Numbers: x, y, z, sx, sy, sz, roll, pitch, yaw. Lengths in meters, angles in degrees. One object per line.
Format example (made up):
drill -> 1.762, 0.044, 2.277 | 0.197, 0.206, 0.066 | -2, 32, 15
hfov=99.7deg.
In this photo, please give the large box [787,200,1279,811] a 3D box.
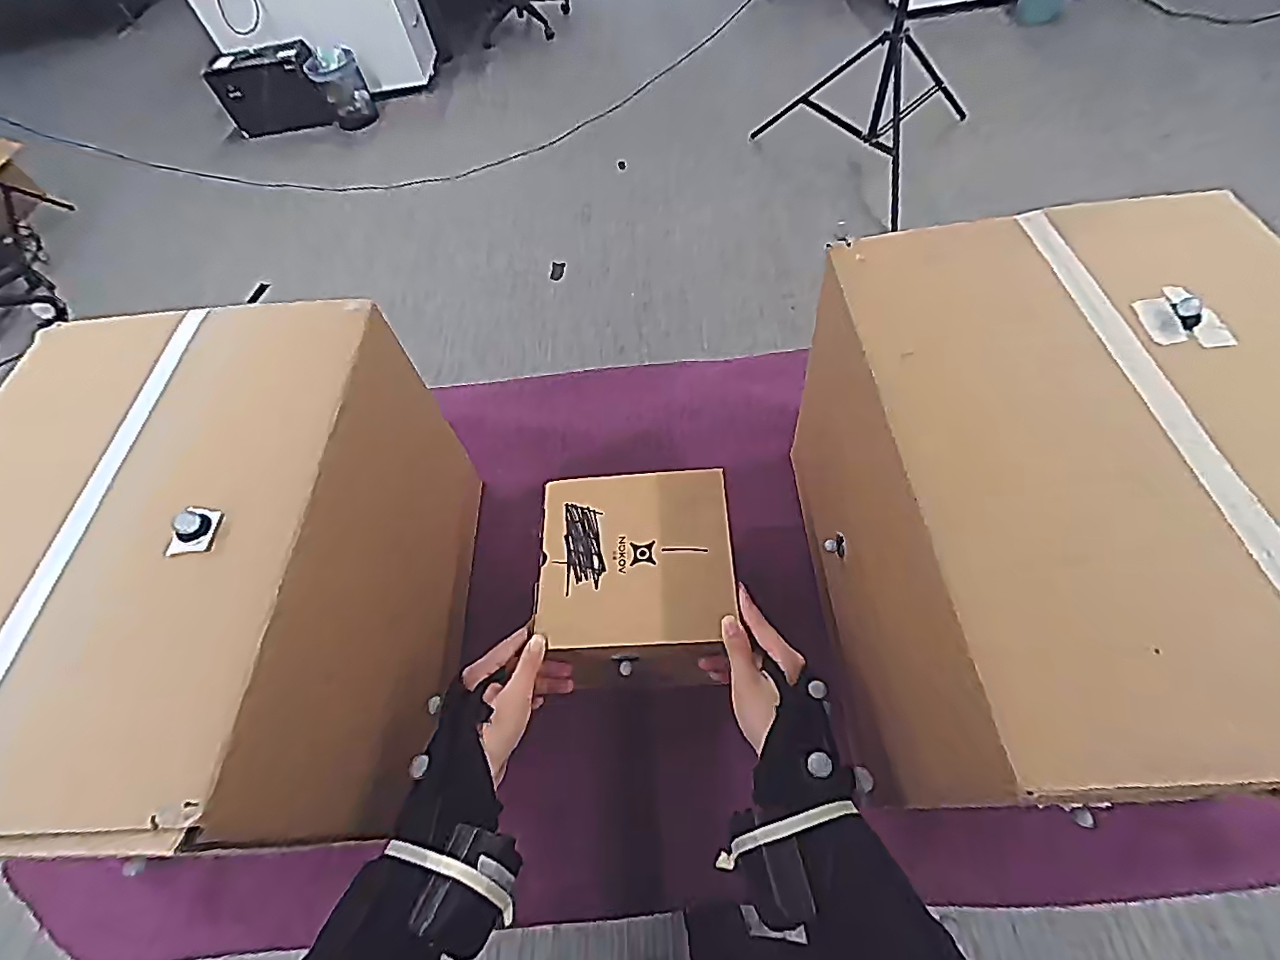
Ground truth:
large box -> 0.330, 0.035, 0.464 | 0.320, 0.320, 0.408 | -5, 56, 4
